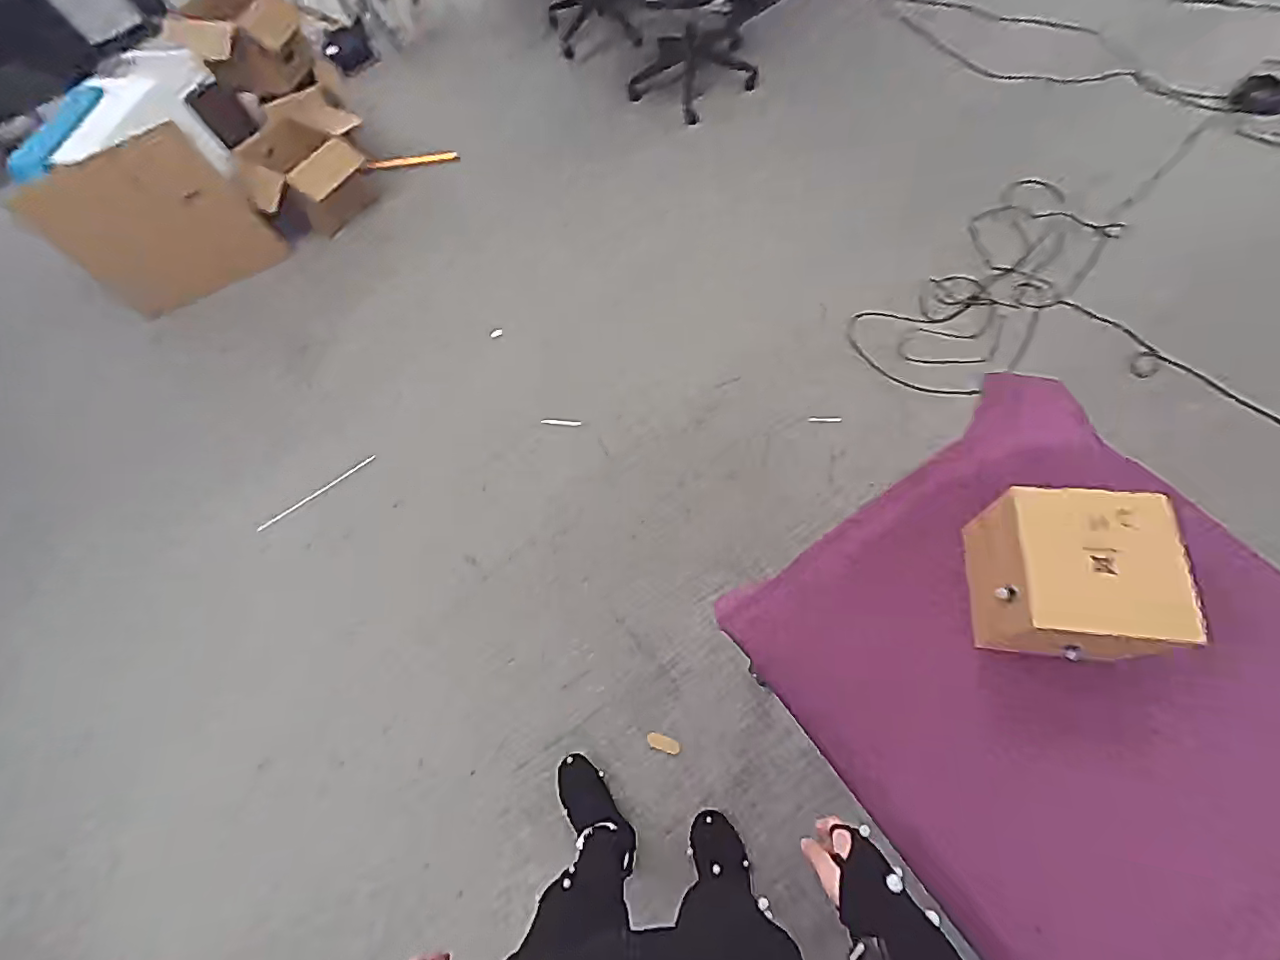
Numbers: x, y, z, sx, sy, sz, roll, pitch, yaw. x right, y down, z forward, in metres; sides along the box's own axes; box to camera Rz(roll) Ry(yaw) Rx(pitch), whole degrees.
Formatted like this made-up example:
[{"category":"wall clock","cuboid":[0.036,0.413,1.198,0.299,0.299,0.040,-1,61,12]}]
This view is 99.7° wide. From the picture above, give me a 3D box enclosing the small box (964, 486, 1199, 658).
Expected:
[{"category":"small box","cuboid":[0.541,0.124,0.694,0.168,0.176,0.179,4,67,11]}]
